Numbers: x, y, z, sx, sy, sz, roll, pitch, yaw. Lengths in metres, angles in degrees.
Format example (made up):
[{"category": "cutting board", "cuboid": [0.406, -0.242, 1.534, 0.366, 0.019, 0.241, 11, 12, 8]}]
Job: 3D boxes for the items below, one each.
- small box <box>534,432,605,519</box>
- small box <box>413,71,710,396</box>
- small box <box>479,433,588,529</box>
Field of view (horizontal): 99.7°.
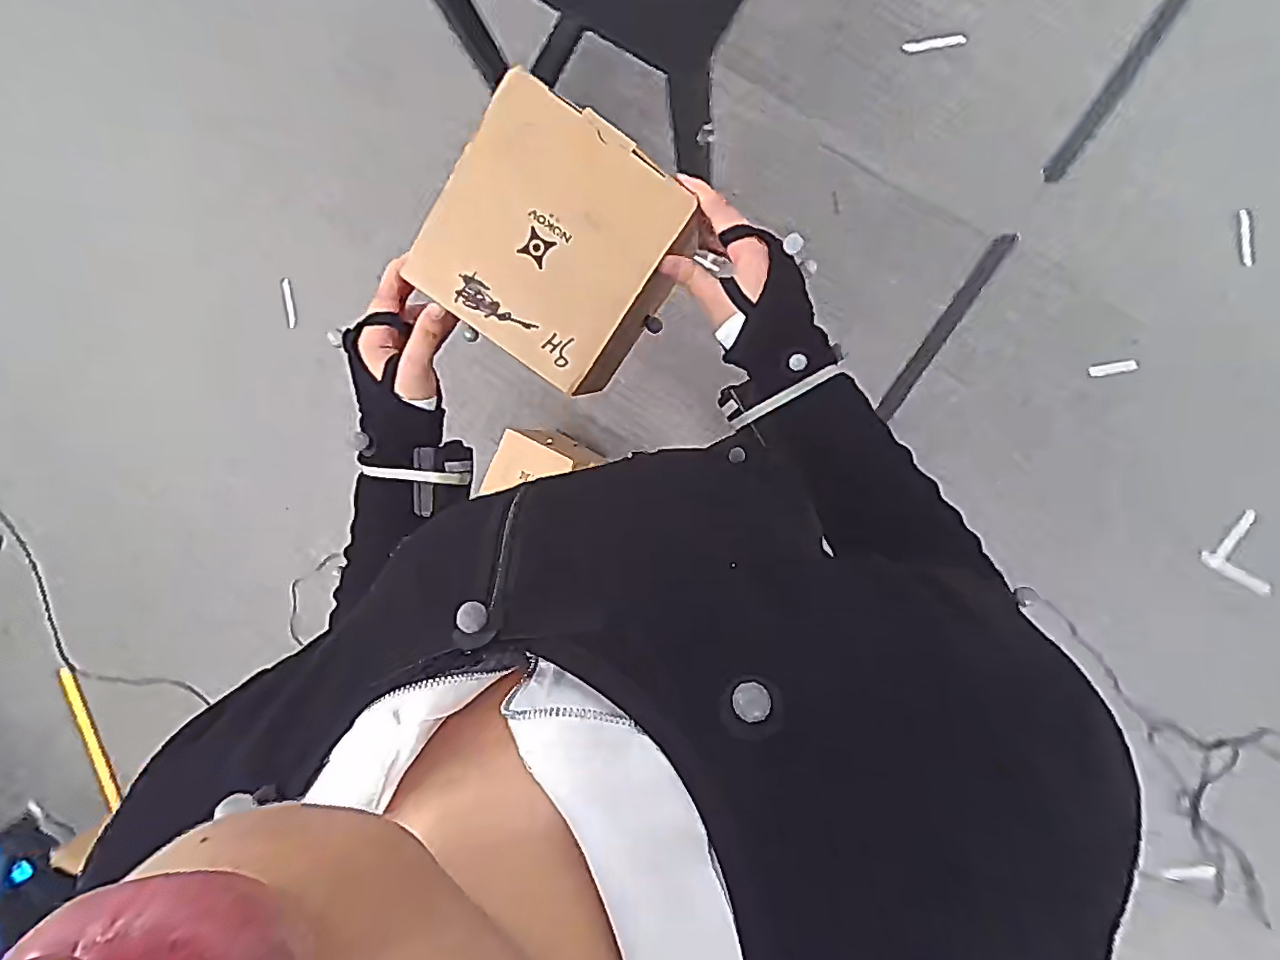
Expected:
[{"category": "small box", "cuboid": [-0.217, -0.014, 1.449, 0.179, 0.176, 0.168, 29, 98, 4]}, {"category": "small box", "cuboid": [-0.058, -0.196, 0.486, 0.168, 0.176, 0.179, 37, 102, -2]}, {"category": "small box", "cuboid": [-0.245, -0.004, 1.290, 0.179, 0.176, 0.168, 26, 96, 7]}]
